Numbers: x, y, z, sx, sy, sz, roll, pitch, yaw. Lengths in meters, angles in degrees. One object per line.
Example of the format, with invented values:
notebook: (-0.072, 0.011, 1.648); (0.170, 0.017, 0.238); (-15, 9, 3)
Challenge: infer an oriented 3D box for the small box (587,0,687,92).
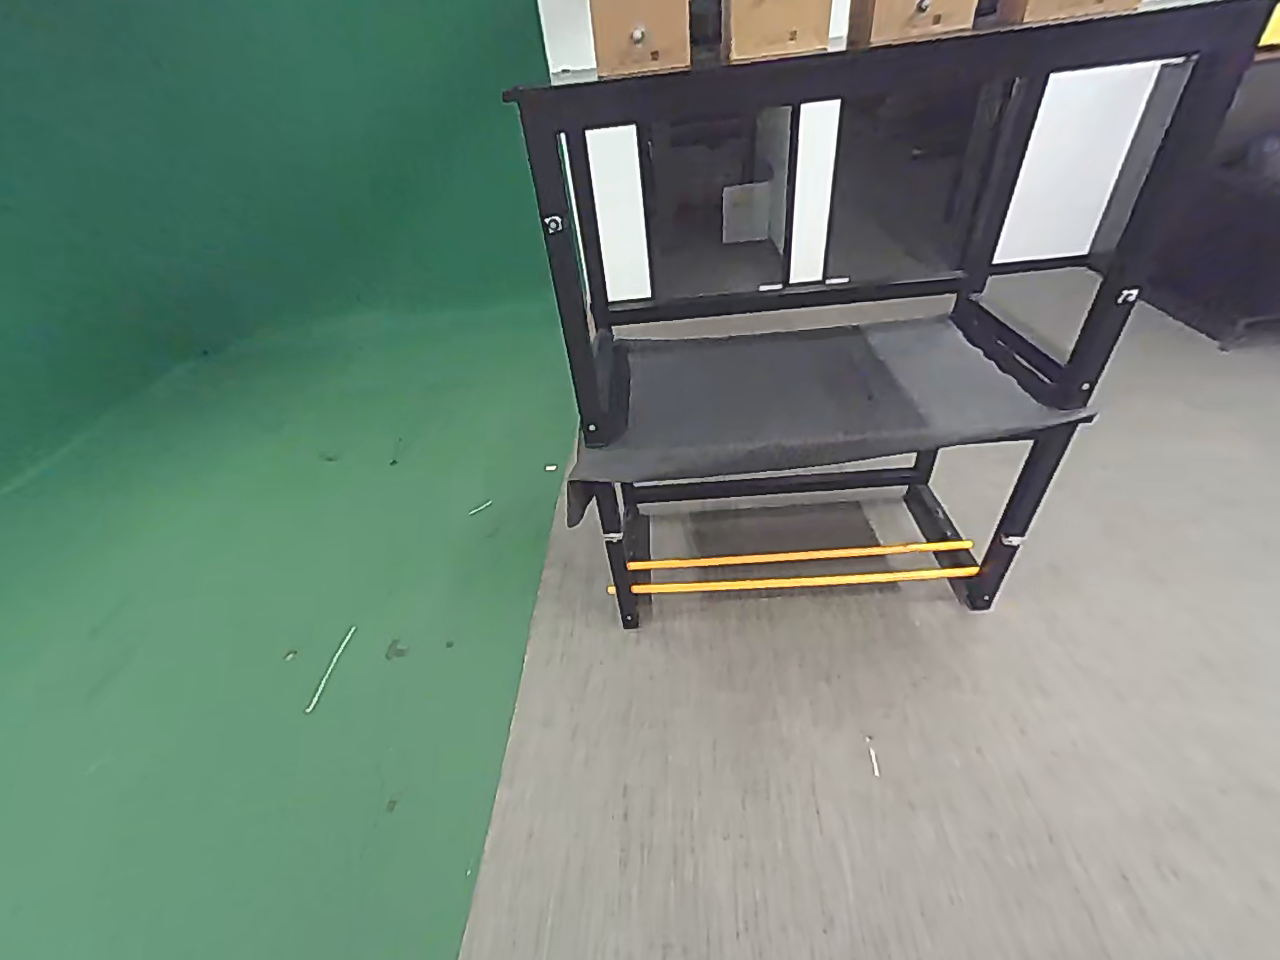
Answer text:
small box: (-0.004, -0.817, 0.981); (0.168, 0.176, 0.179); (-5, 39, 3)

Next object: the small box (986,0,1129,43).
small box: (0.714, -0.854, 0.908); (0.168, 0.176, 0.179); (3, 39, 13)
